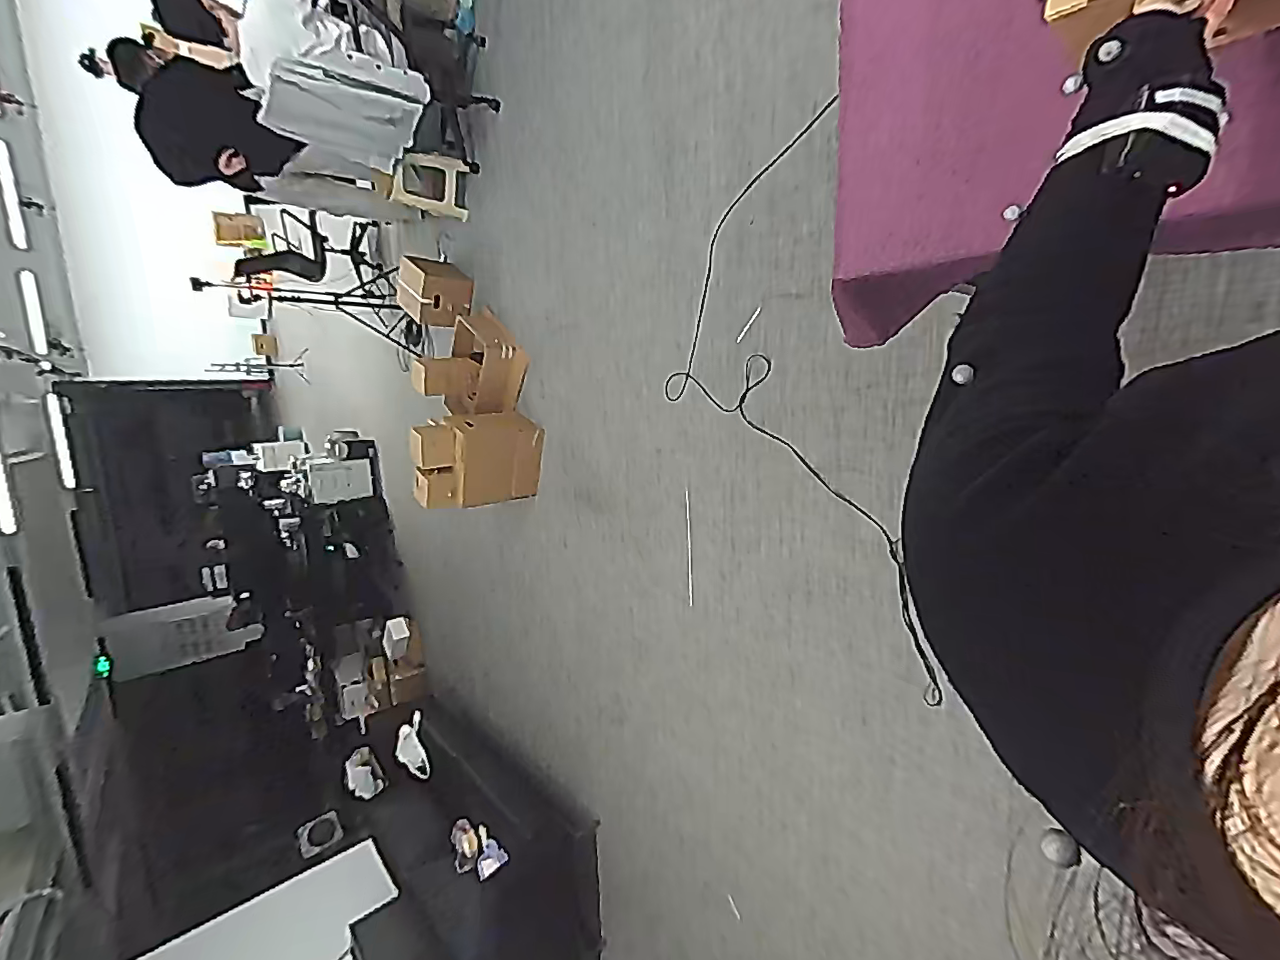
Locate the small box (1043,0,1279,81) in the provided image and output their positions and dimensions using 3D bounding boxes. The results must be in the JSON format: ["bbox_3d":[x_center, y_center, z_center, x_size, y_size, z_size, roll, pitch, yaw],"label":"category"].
[{"bbox_3d":[0.494,-0.511,0.486,0.168,0.176,0.179,13,107,47],"label":"small box"}]
